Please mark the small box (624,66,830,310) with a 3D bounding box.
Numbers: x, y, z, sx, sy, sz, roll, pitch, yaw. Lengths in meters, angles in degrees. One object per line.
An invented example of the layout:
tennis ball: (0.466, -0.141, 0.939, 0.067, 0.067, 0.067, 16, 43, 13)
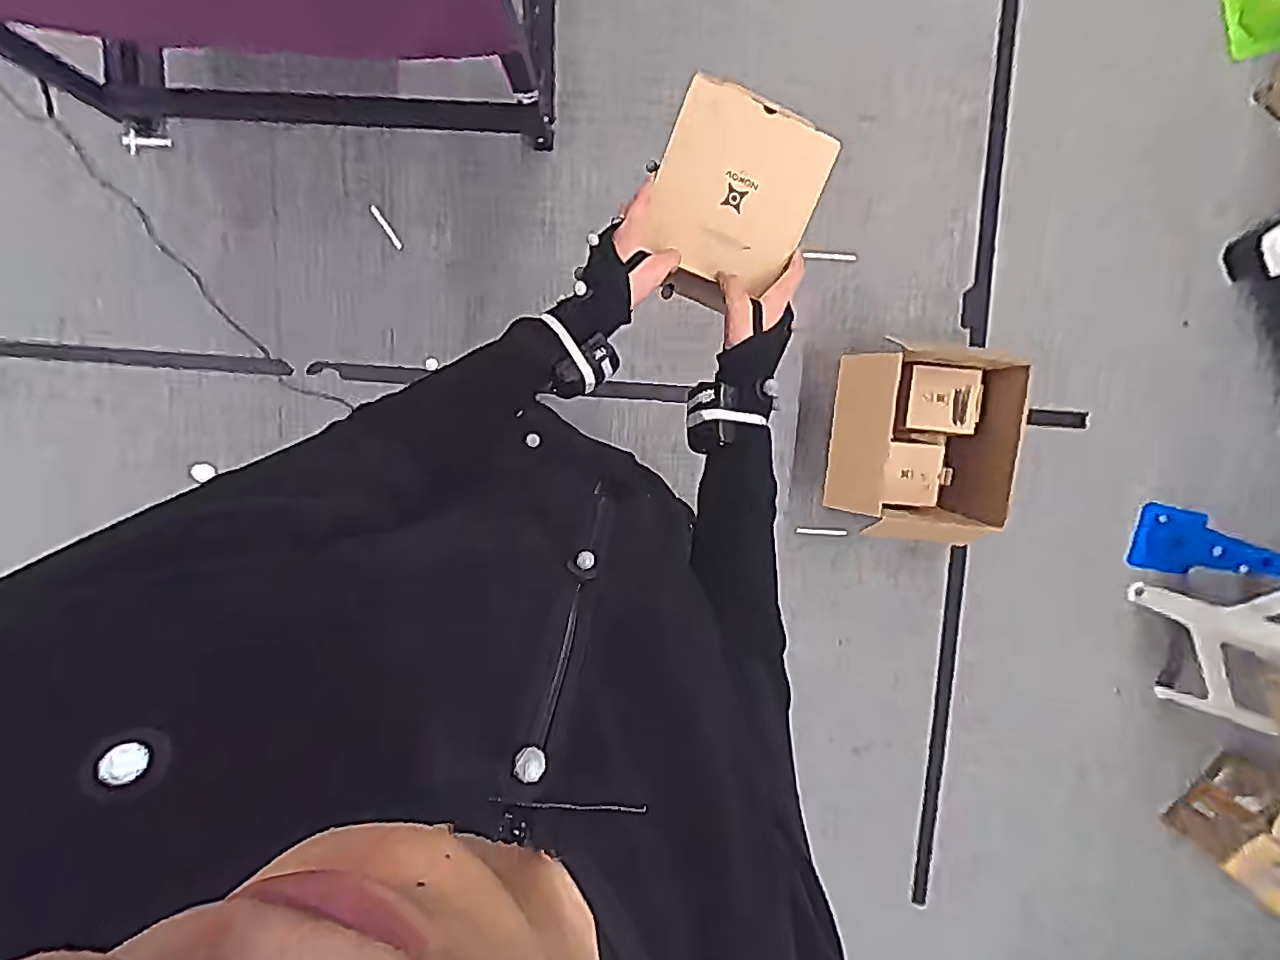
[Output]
small box: (0.085, -0.319, 0.635, 0.168, 0.176, 0.179, 20, 100, -9)
